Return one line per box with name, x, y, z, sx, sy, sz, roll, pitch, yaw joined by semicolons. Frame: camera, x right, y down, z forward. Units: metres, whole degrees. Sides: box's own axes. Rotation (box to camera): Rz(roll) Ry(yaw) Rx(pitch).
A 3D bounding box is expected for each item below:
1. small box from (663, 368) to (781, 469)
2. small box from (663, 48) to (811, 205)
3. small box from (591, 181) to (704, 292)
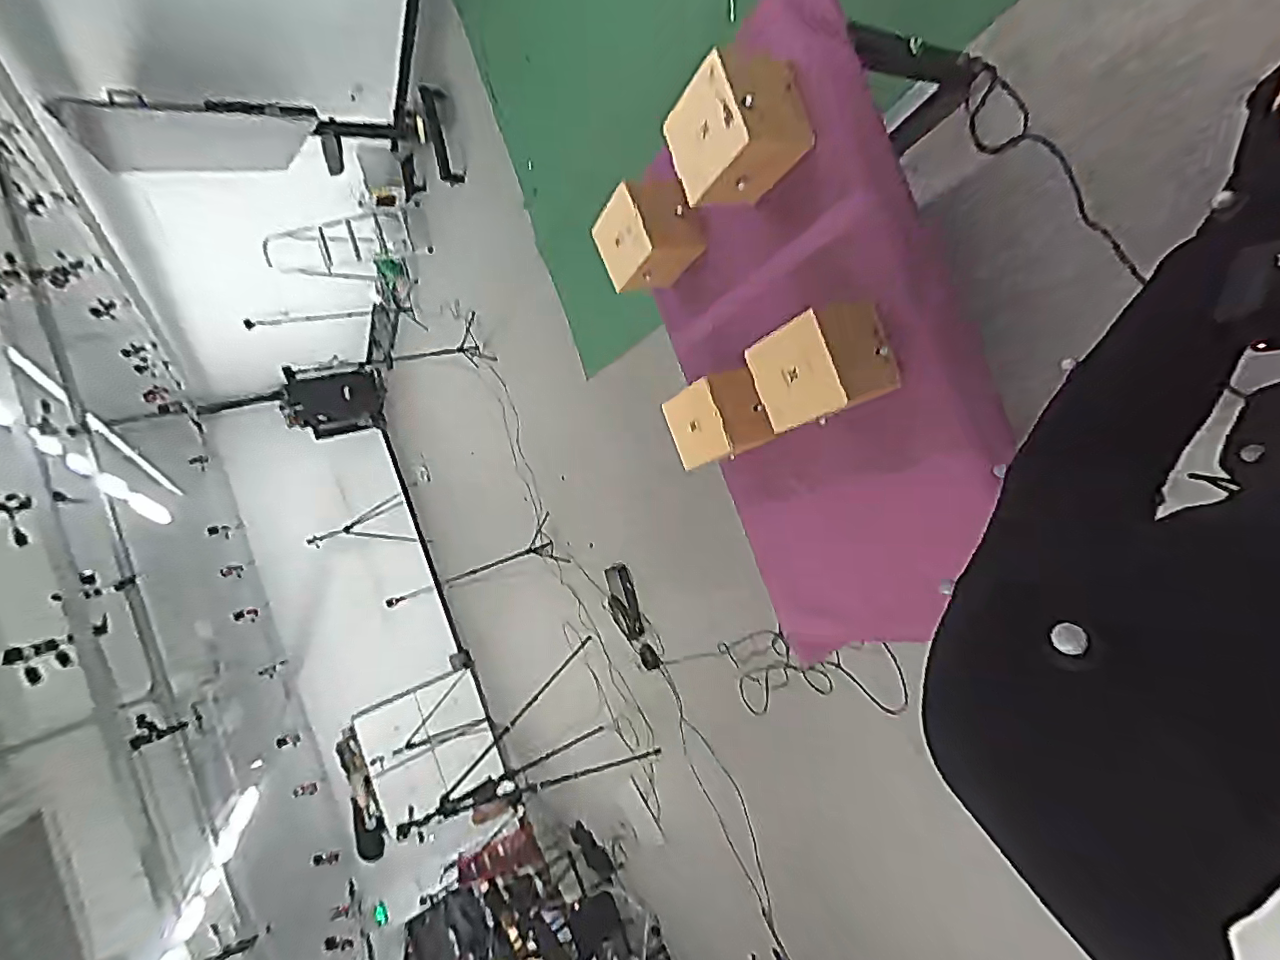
small box;0.185;-0.139;1.226;0.179;0.176;0.168;-25;84;57
small box;0.174;-0.629;0.982;0.179;0.176;0.168;-23;88;60
small box;0.018;-0.561;1.253;0.179;0.176;0.168;-27;86;57
